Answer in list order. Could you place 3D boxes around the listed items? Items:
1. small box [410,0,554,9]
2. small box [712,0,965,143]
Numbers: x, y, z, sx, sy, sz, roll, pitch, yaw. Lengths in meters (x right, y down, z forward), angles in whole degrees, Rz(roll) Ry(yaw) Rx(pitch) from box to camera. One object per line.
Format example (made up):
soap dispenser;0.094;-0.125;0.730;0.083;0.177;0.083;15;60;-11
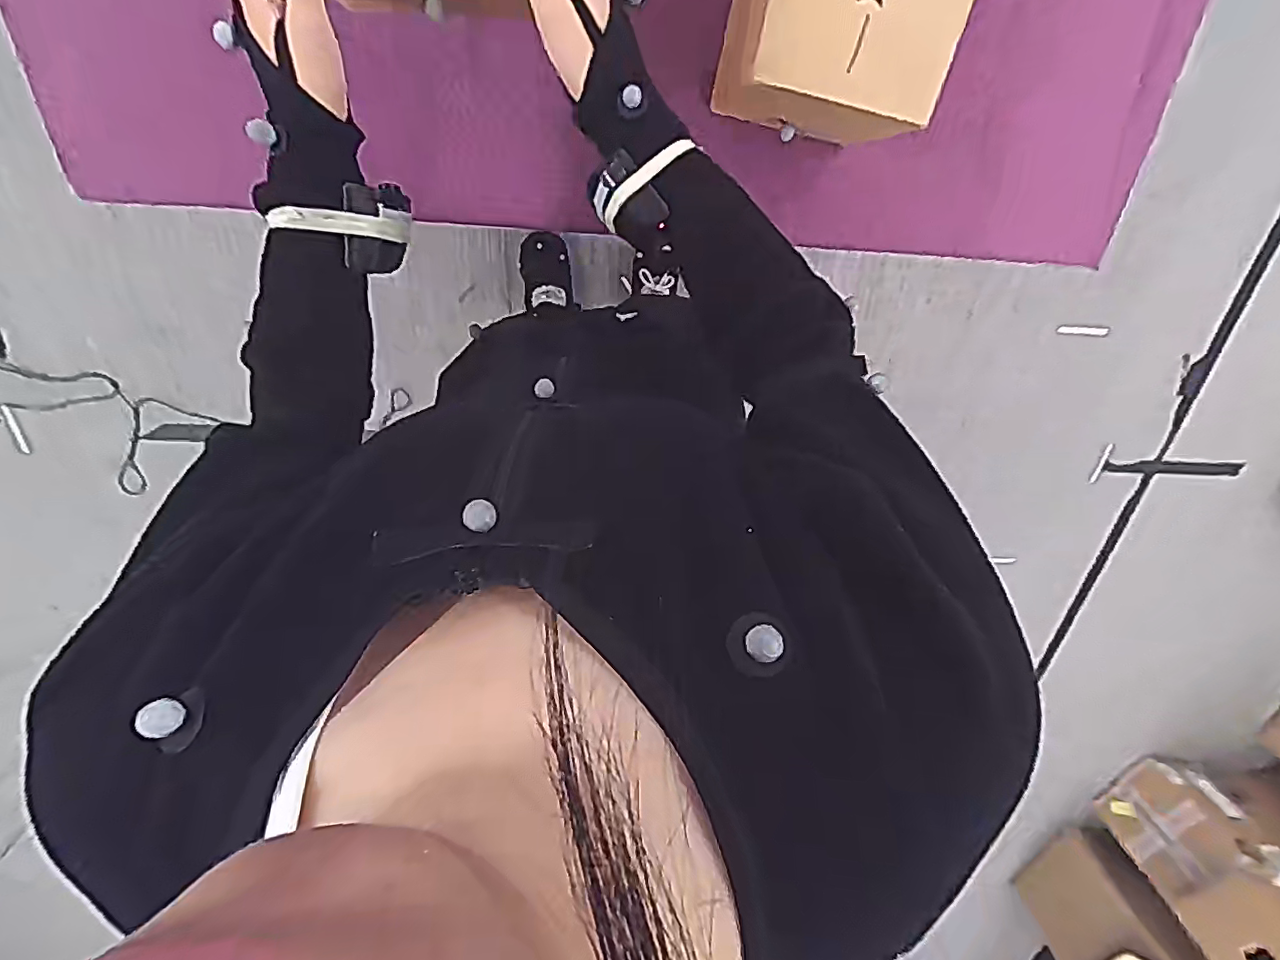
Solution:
small box;-0.137;-0.429;0.354;0.179;0.176;0.168;-5;126;-9
small box;0.175;-0.433;0.496;0.168;0.176;0.179;8;116;-10
